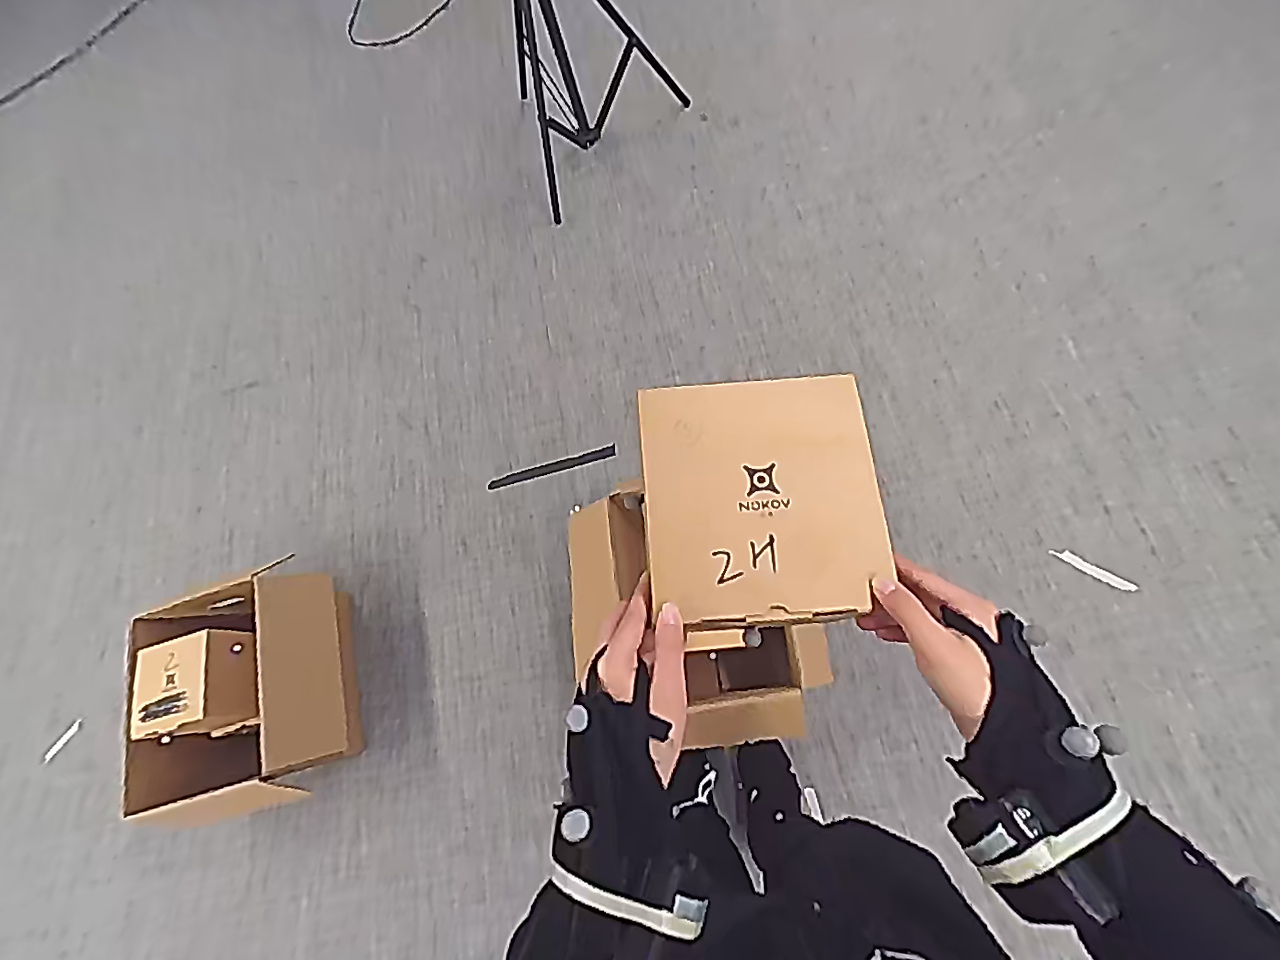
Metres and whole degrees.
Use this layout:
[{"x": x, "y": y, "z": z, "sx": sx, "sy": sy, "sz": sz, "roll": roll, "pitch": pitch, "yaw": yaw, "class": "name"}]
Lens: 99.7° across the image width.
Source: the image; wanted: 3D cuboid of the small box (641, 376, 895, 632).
[{"x": 0.086, "y": 0.031, "z": 0.463, "sx": 0.168, "sy": 0.176, "sz": 0.179, "roll": -4, "pitch": 72, "yaw": 0, "class": "small box"}]
